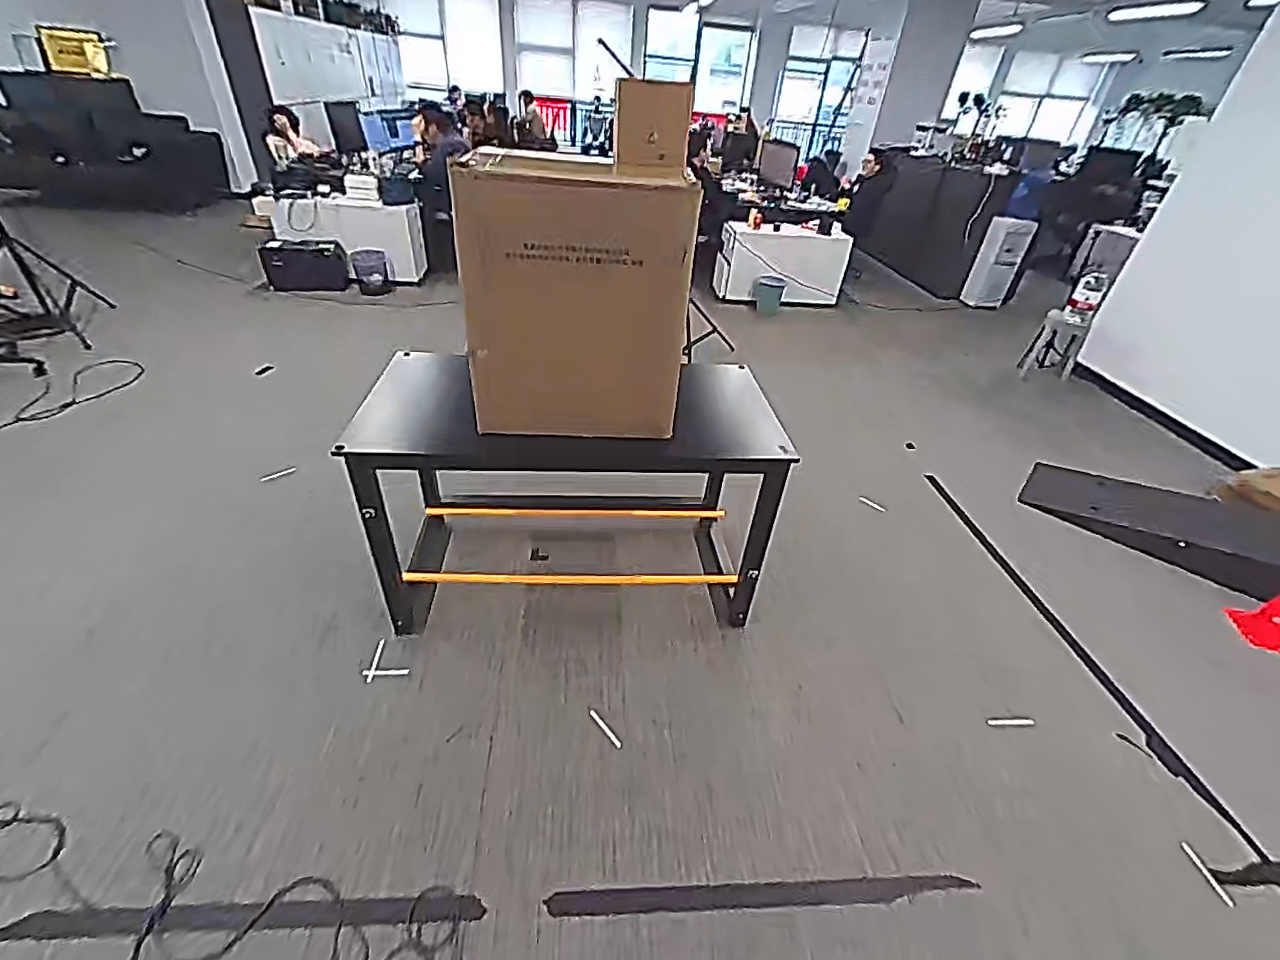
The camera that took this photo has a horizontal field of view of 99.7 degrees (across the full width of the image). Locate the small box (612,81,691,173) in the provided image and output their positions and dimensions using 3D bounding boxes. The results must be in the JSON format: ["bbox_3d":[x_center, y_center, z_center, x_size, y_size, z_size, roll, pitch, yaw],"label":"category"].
[{"bbox_3d":[0.020,-0.848,1.303,0.168,0.176,0.179,-1,34,-6],"label":"small box"}]
